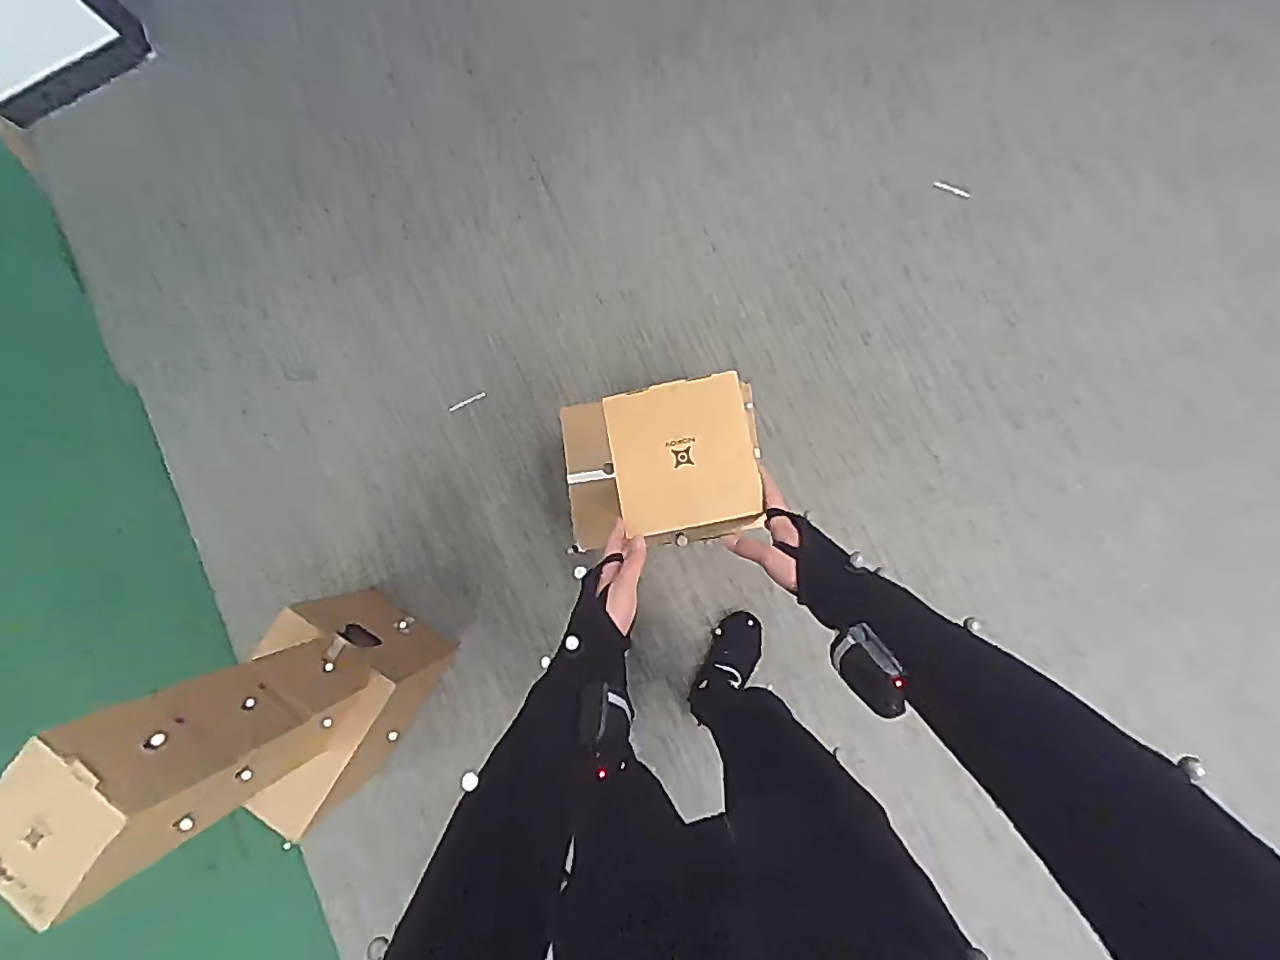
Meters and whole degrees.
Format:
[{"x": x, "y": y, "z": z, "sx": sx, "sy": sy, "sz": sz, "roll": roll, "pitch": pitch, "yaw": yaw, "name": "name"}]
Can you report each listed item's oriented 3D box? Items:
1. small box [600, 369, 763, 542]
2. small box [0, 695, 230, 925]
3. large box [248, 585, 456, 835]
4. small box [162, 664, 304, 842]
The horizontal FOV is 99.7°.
[{"x": 0.056, "y": -0.018, "z": 0.703, "sx": 0.168, "sy": 0.176, "sz": 0.179, "roll": -12, "pitch": 77, "yaw": 4, "name": "small box"}, {"x": -0.722, "y": 0.431, "z": 0.745, "sx": 0.168, "sy": 0.176, "sz": 0.179, "roll": 37, "pitch": 89, "yaw": 7, "name": "small box"}, {"x": -0.726, "y": 0.522, "z": 1.317, "sx": 0.320, "sy": 0.320, "sz": 0.408, "roll": 32, "pitch": 90, "yaw": 7, "name": "large box"}, {"x": -0.712, "y": 0.441, "z": 0.908, "sx": 0.168, "sy": 0.176, "sz": 0.179, "roll": 37, "pitch": 90, "yaw": 7, "name": "small box"}]
